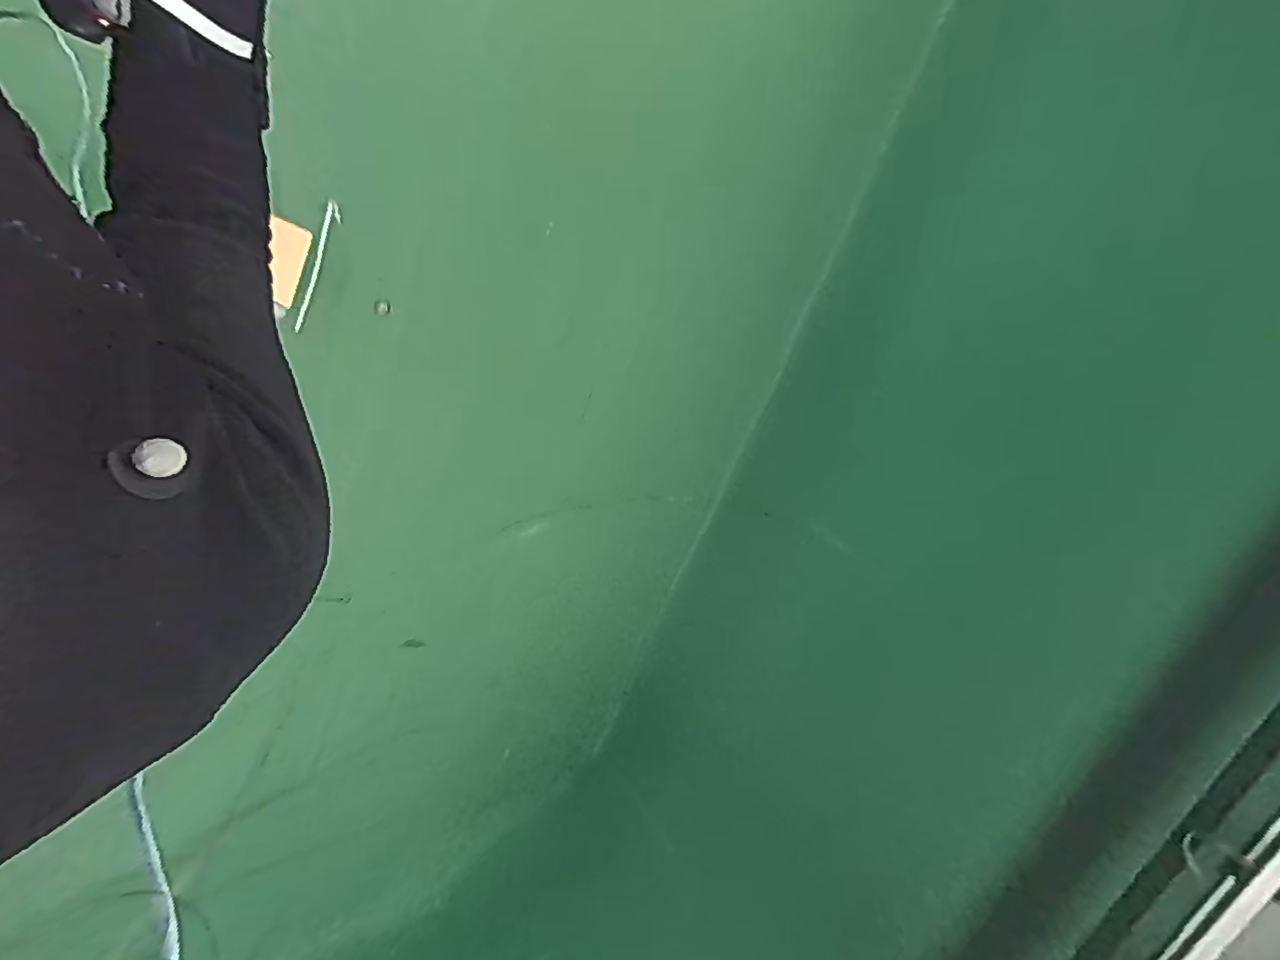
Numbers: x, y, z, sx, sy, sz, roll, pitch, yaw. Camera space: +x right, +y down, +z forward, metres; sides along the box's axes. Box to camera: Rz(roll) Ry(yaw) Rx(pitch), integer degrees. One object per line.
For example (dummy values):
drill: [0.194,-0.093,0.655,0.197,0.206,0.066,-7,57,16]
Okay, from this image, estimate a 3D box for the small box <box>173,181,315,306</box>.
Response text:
small box: [-0.811,-0.484,1.106,0.179,0.176,0.168,11,108,-53]
